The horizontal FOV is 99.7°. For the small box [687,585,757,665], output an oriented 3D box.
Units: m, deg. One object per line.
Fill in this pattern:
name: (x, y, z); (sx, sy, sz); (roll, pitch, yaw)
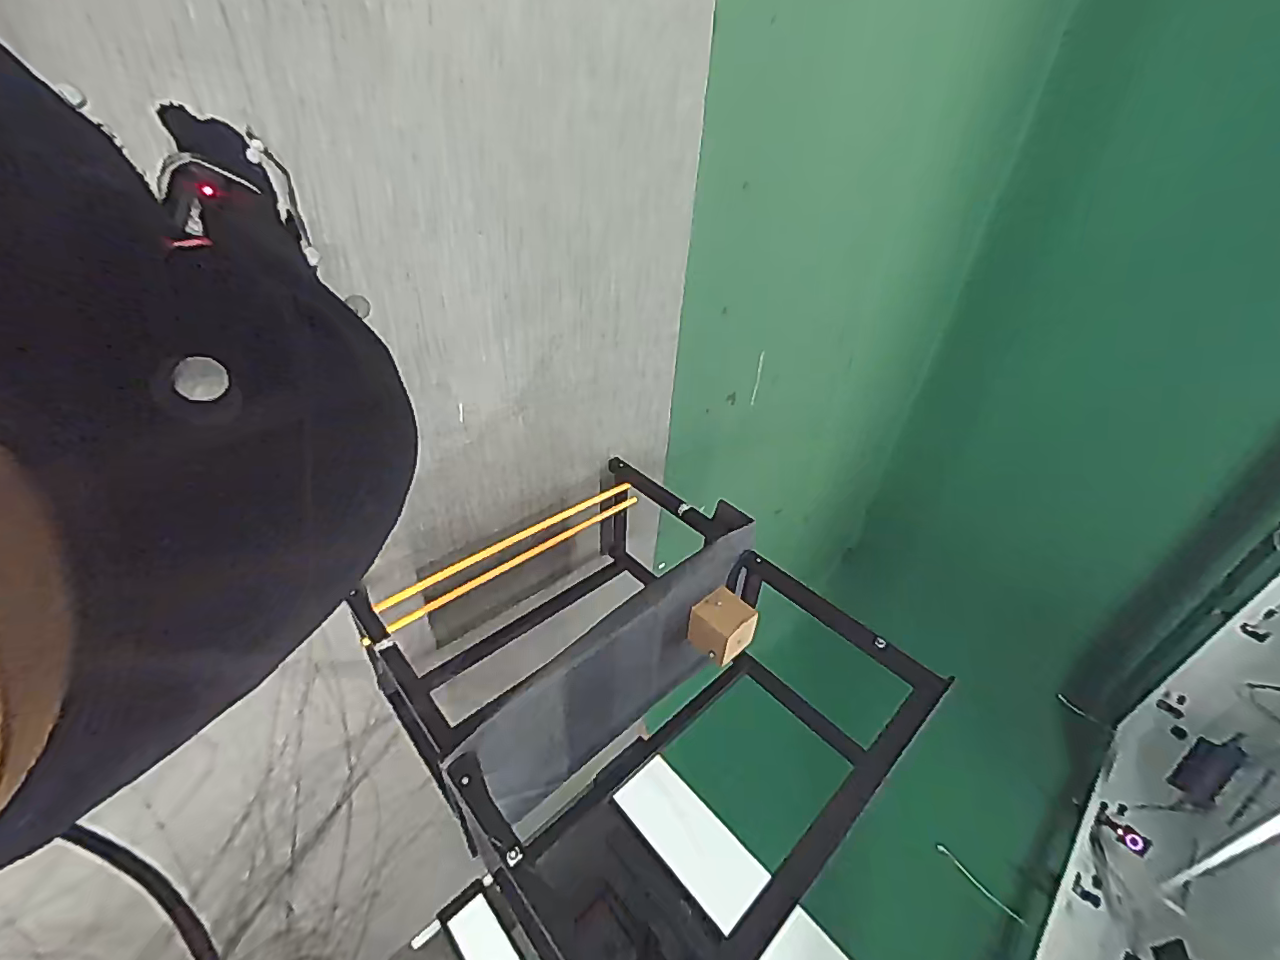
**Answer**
small box: (0.285, 0.509, 1.913); (0.168, 0.176, 0.179); (-29, 138, -33)
